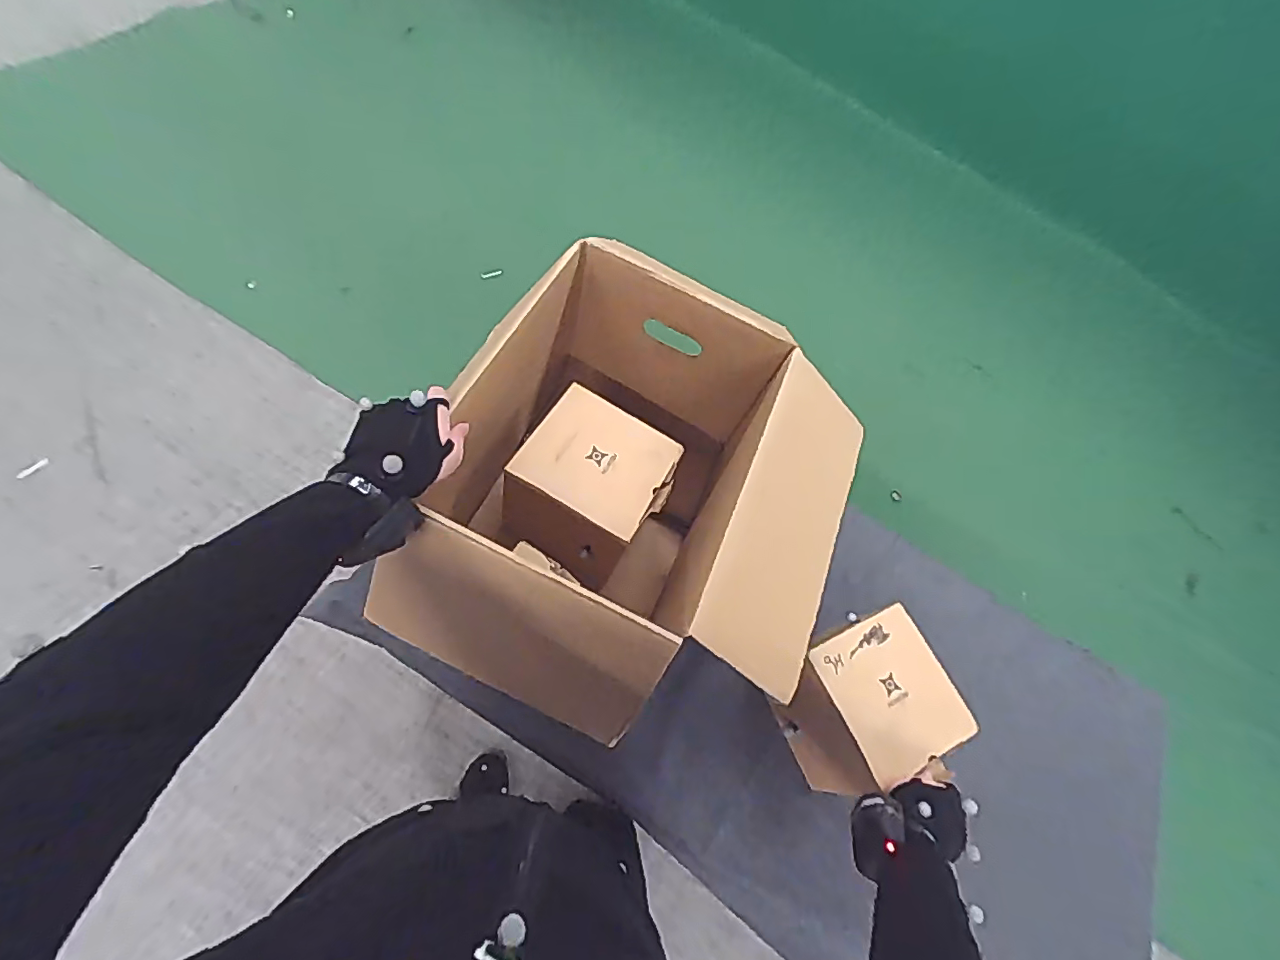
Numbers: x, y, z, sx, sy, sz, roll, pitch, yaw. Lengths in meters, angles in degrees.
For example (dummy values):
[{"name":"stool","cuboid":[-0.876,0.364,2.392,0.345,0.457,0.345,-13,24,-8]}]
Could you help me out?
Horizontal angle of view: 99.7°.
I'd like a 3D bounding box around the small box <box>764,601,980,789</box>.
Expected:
[{"name":"small box","cuboid":[0.301,0.287,0.739,0.168,0.176,0.179,-18,71,-19]}]
